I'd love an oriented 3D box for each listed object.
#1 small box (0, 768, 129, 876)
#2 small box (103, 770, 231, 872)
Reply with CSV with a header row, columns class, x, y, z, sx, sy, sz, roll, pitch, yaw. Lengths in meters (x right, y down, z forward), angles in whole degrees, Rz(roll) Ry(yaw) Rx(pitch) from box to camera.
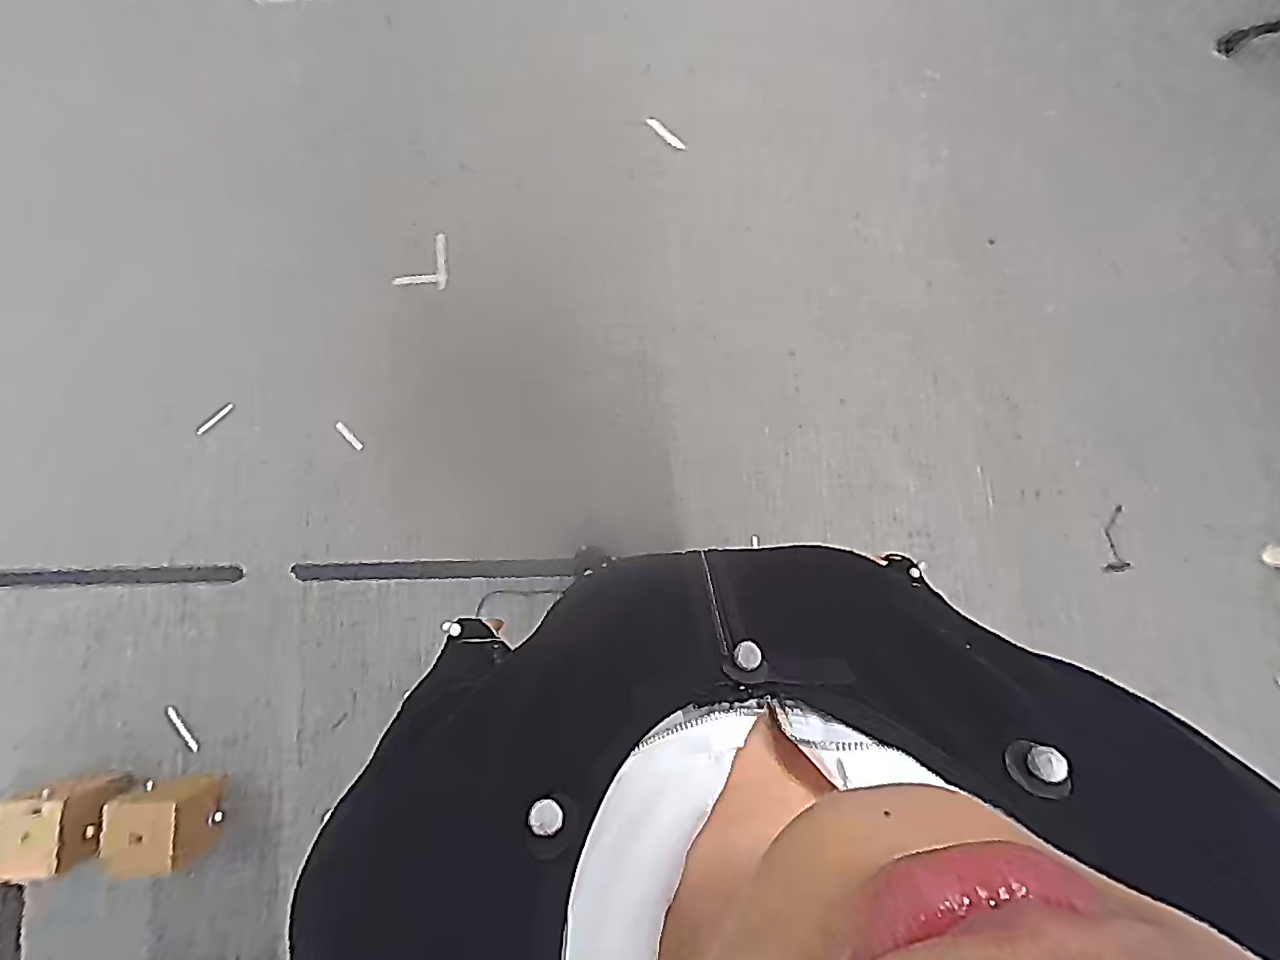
class,x,y,z,sx,sy,sz,roll,pitch,yaw
small box,-1.452,0.858,1.368,0.168,0.176,0.179,-2,84,-1
small box,-1.189,0.855,1.369,0.179,0.176,0.168,-2,84,-1
